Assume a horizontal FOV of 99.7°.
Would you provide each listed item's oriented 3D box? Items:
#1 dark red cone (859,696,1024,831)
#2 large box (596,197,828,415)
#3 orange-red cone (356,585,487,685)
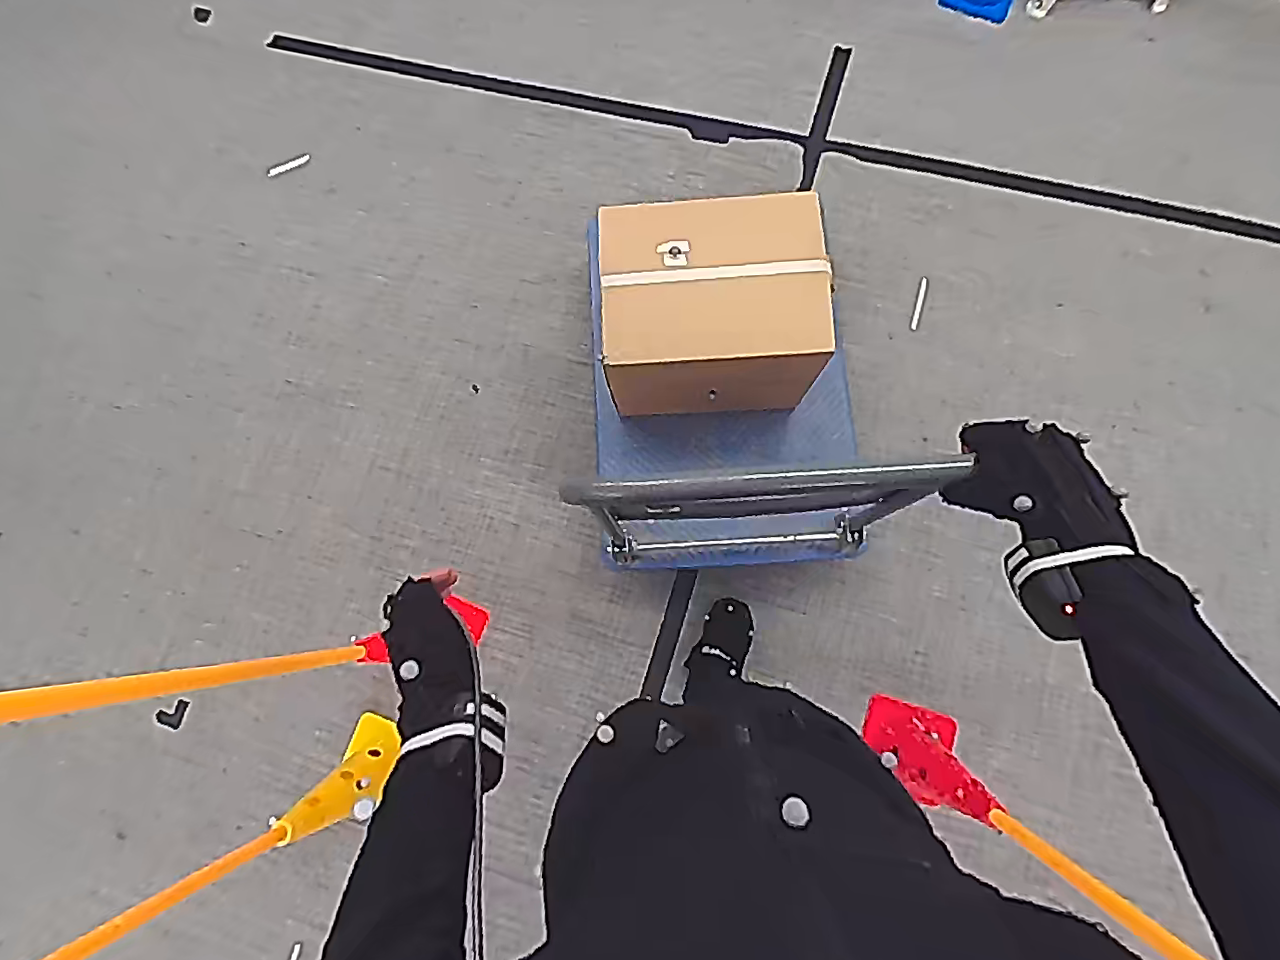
[{"bbox_3d":[0.596,0.575,1.049,0.201,0.394,0.202,16,81,5],"label":"dark red cone"},{"bbox_3d":[0.134,-0.332,1.120,0.408,0.320,0.320,-3,79,4],"label":"large box"},{"bbox_3d":[-0.508,0.350,1.179,0.198,0.360,0.199,24,80,7],"label":"orange-red cone"}]
